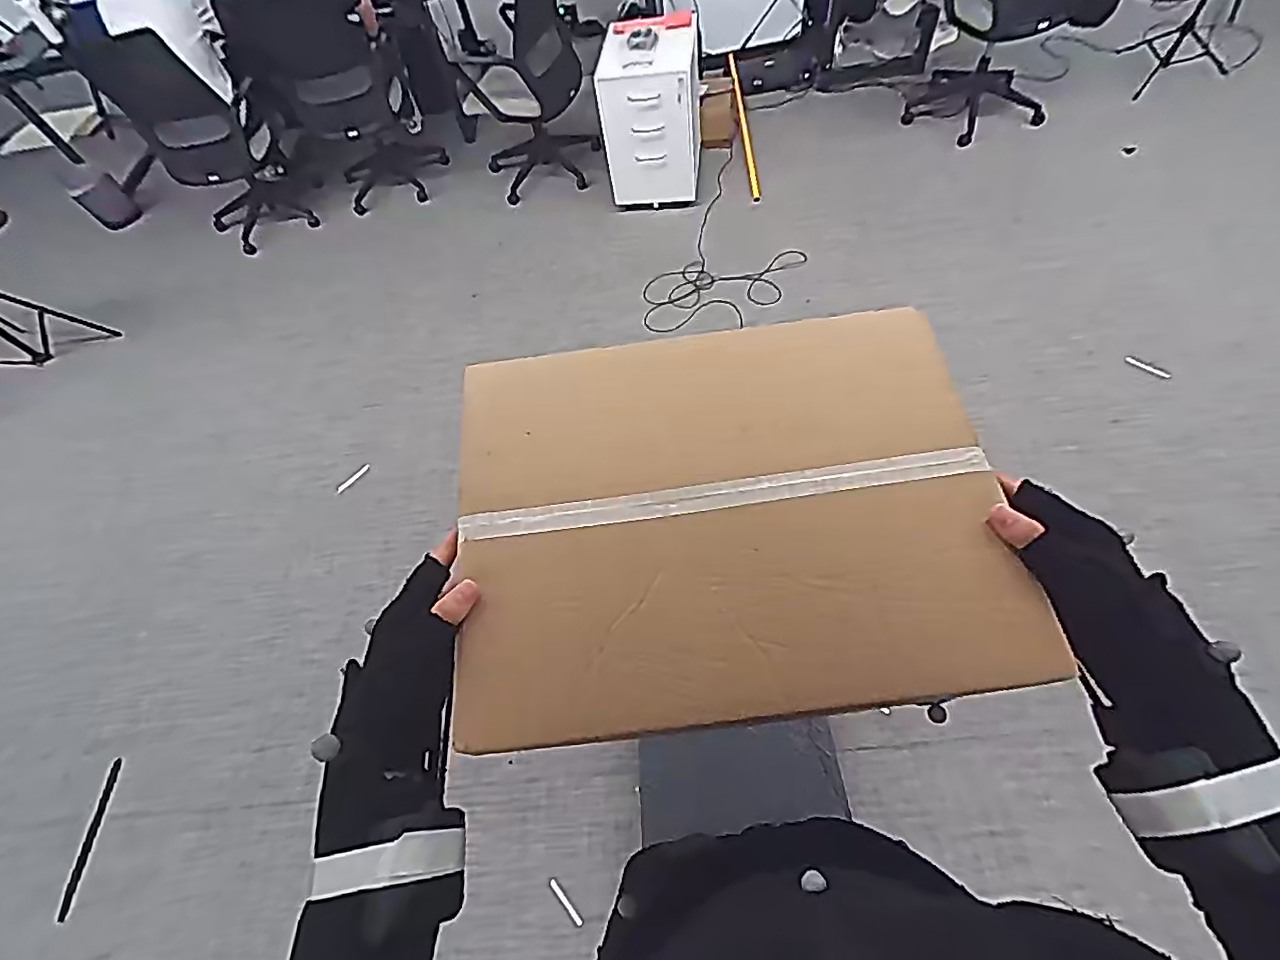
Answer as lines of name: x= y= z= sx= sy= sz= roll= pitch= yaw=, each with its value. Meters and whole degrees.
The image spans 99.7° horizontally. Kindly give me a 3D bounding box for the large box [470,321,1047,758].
large box: x=0.075 y=0.083 z=0.562 sx=0.408 sy=0.320 sz=0.320 roll=-8 pitch=64 yaw=1
